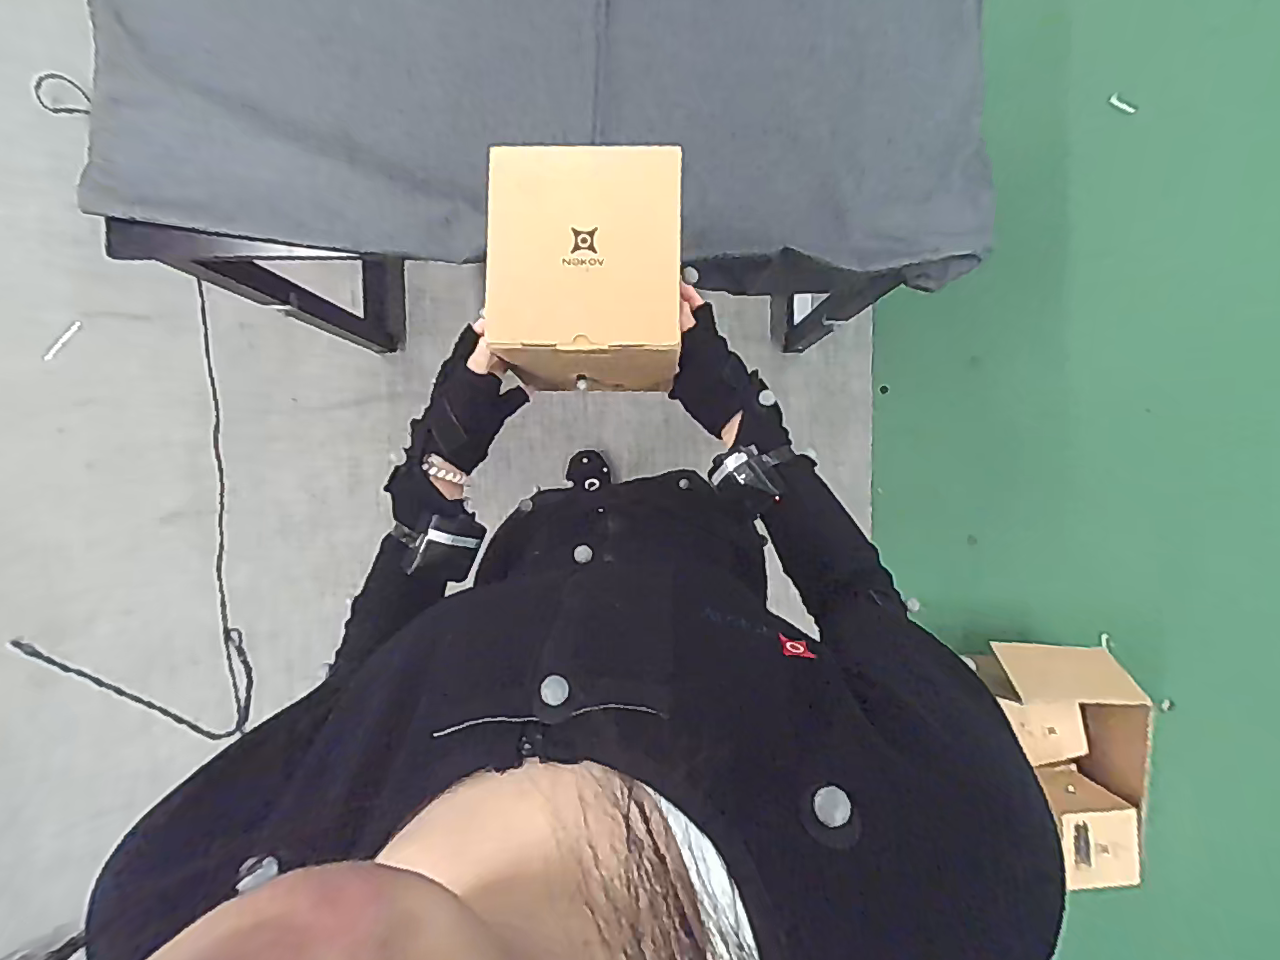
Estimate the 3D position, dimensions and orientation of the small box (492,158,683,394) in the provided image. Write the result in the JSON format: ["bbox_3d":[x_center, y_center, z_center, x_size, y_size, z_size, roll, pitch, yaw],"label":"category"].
[{"bbox_3d":[-0.045,-0.193,0.554,0.168,0.176,0.179,1,88,1],"label":"small box"}]
